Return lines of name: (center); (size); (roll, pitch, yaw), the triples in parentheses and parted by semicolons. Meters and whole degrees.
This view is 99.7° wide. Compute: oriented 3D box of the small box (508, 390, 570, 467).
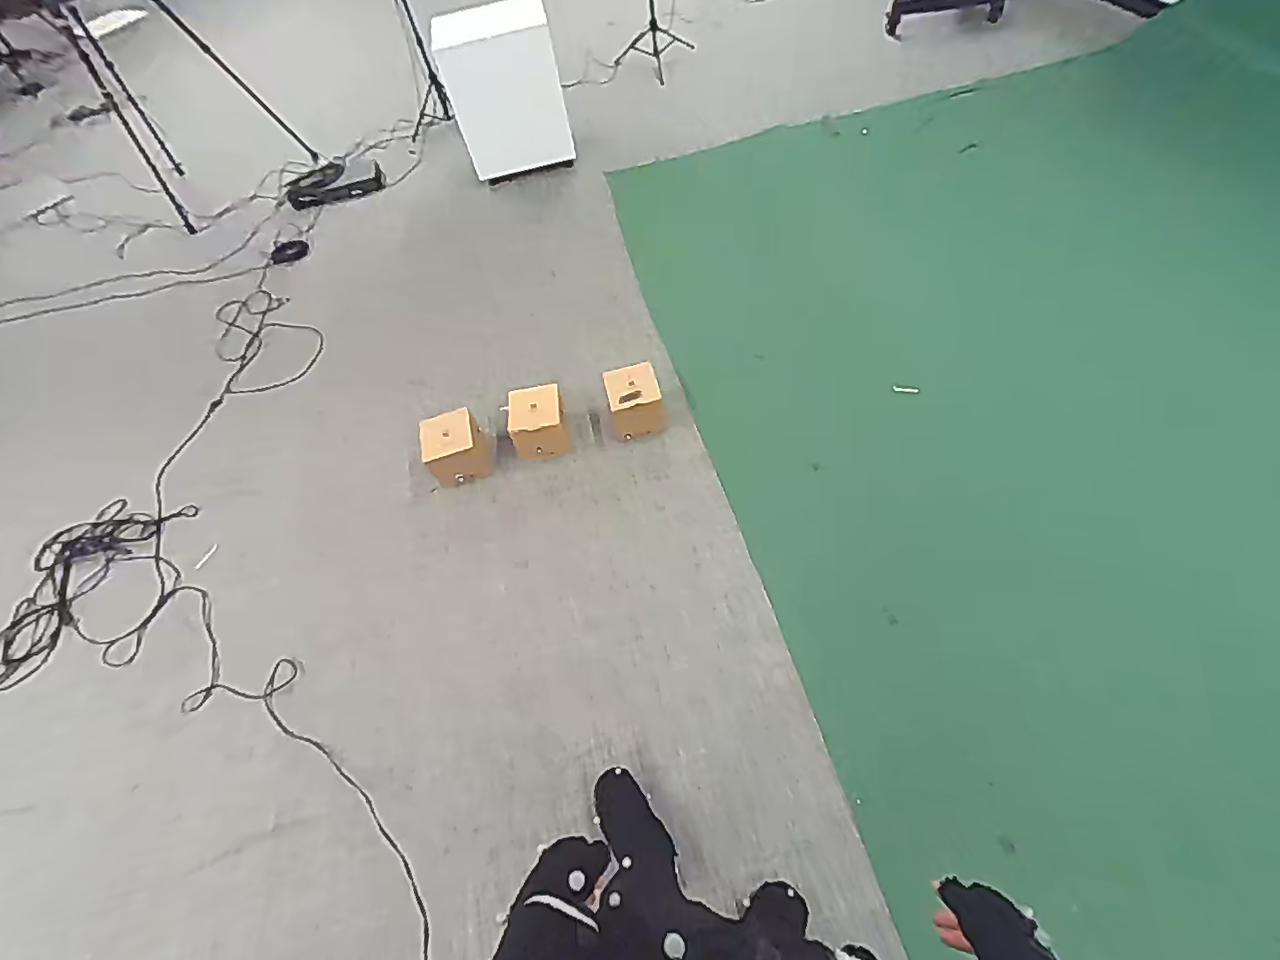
small box: (-0.333, -0.170, 1.799); (0.168, 0.176, 0.179); (-10, 57, 1)

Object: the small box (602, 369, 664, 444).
small box: (-0.022, -0.237, 1.800); (0.168, 0.176, 0.179); (-14, 56, -2)

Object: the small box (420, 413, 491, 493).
small box: (-0.606, -0.086, 1.780); (0.168, 0.176, 0.179); (-19, 58, -2)
